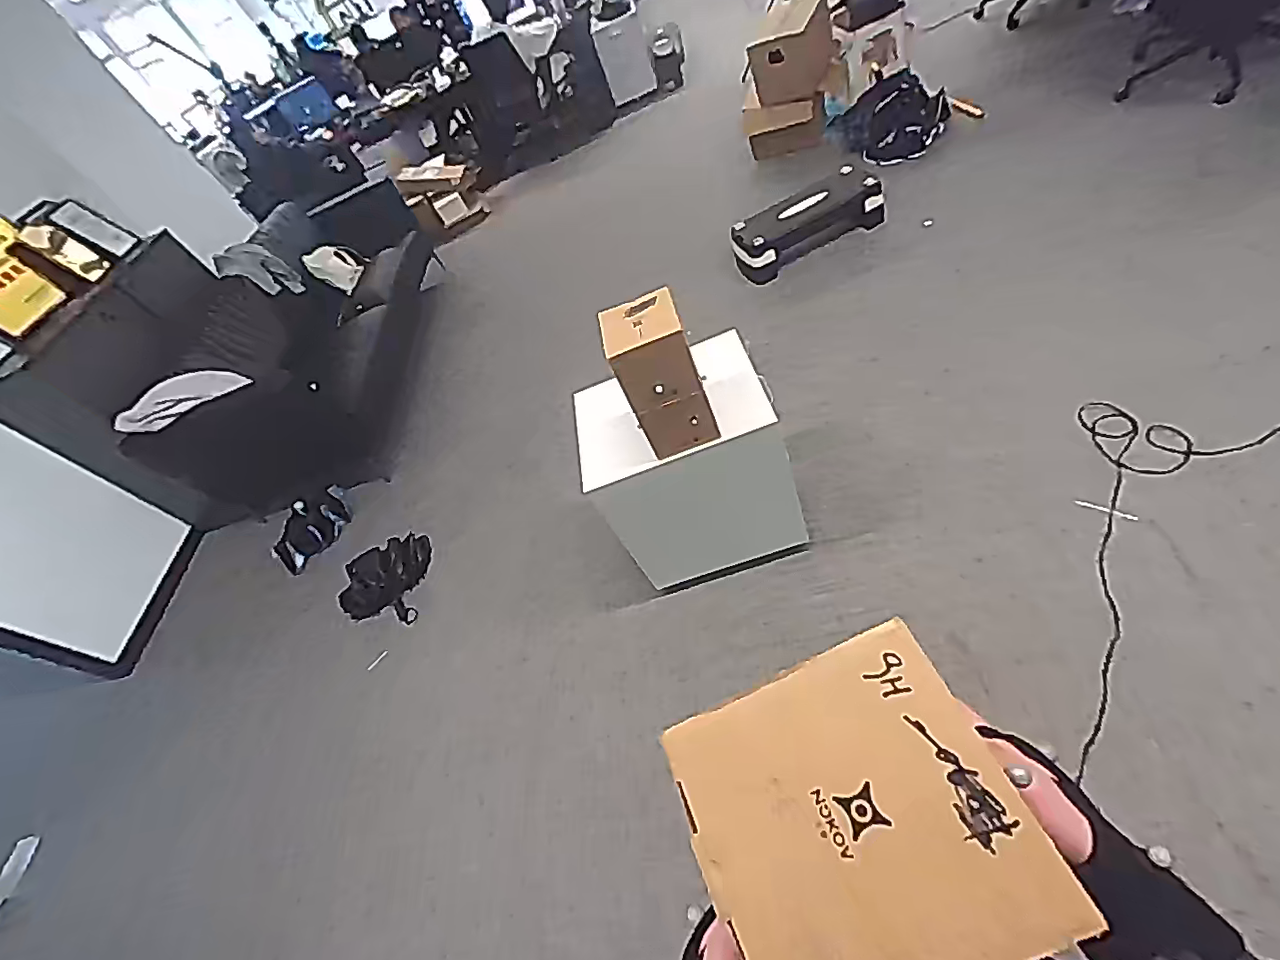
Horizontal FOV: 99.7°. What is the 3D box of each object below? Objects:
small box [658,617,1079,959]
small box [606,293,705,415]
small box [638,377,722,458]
[{"bbox_3d":[0.141,0.222,0.379,0.179,0.176,0.168,-28,58,7],"label":"small box"},{"bbox_3d":[0.035,-0.277,1.205,0.168,0.176,0.179,-19,47,10],"label":"small box"},{"bbox_3d":[0.091,-0.175,1.321,0.168,0.176,0.179,-19,45,9],"label":"small box"}]
